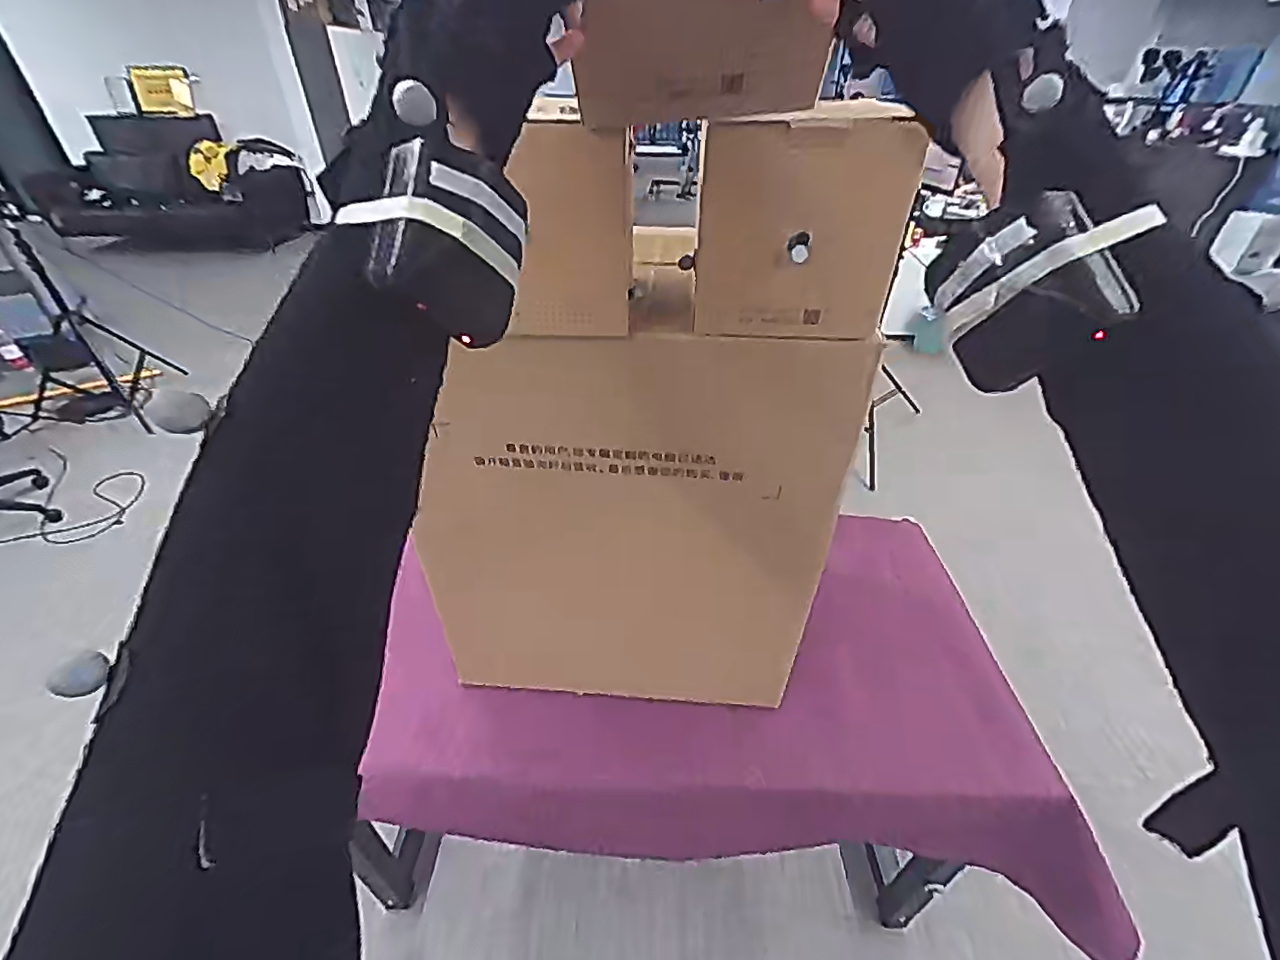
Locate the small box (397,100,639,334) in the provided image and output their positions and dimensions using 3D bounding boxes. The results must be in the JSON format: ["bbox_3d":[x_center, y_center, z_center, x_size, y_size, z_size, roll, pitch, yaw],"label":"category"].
[{"bbox_3d":[-0.091,-0.246,0.509,0.179,0.176,0.168,0,38,1],"label":"small box"}]

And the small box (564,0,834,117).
[{"bbox_3d":[0.035,-0.360,0.337,0.168,0.176,0.179,-2,72,2],"label":"small box"}]

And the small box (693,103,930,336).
[{"bbox_3d":[0.139,-0.247,0.512,0.168,0.176,0.179,3,39,3],"label":"small box"}]
